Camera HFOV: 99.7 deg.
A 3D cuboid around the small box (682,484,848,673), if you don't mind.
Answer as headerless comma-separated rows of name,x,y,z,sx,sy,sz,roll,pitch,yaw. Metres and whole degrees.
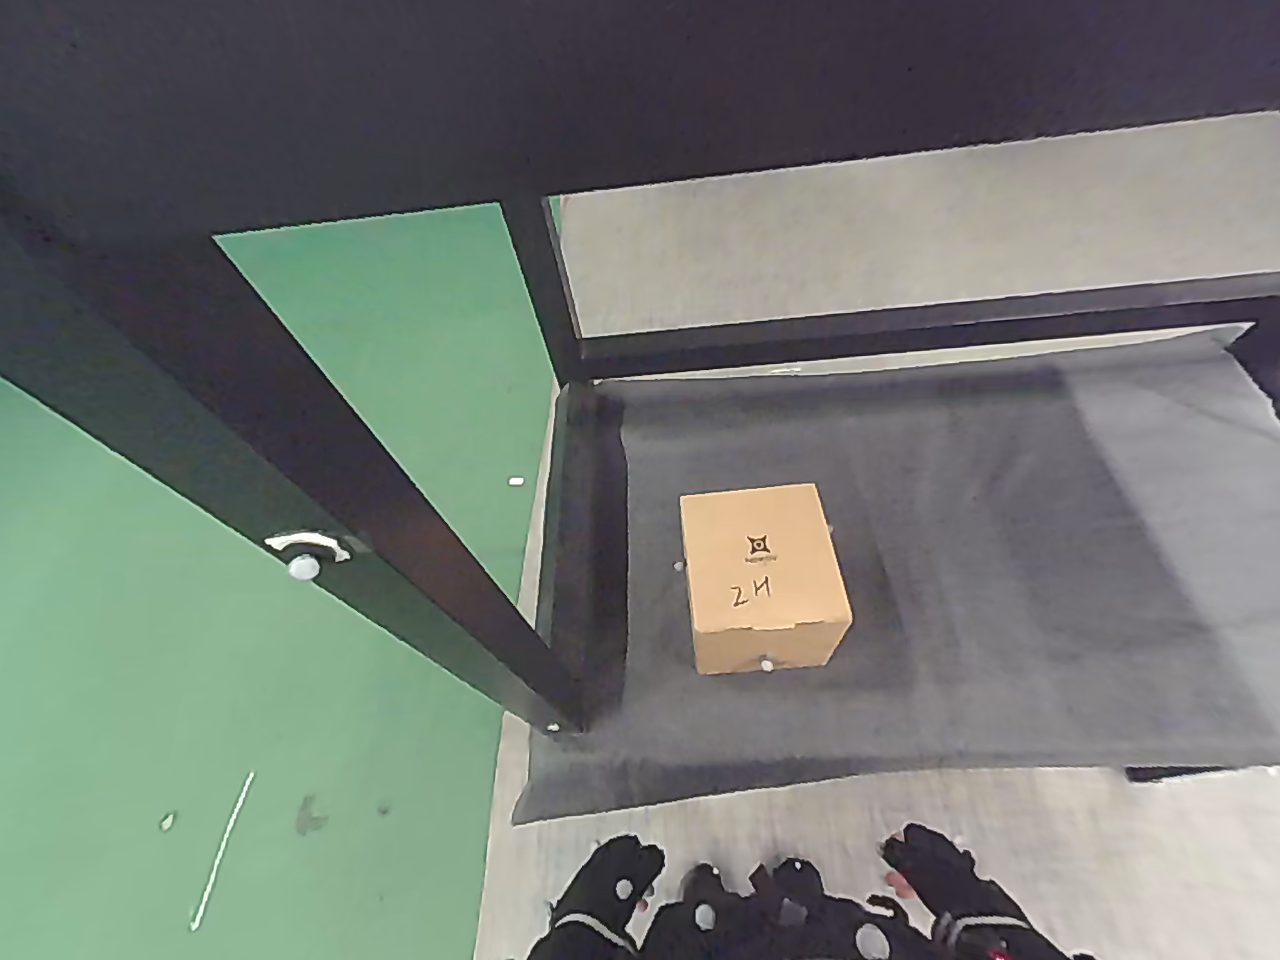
small box,0.143,0.128,0.682,0.168,0.176,0.179,-6,55,4
